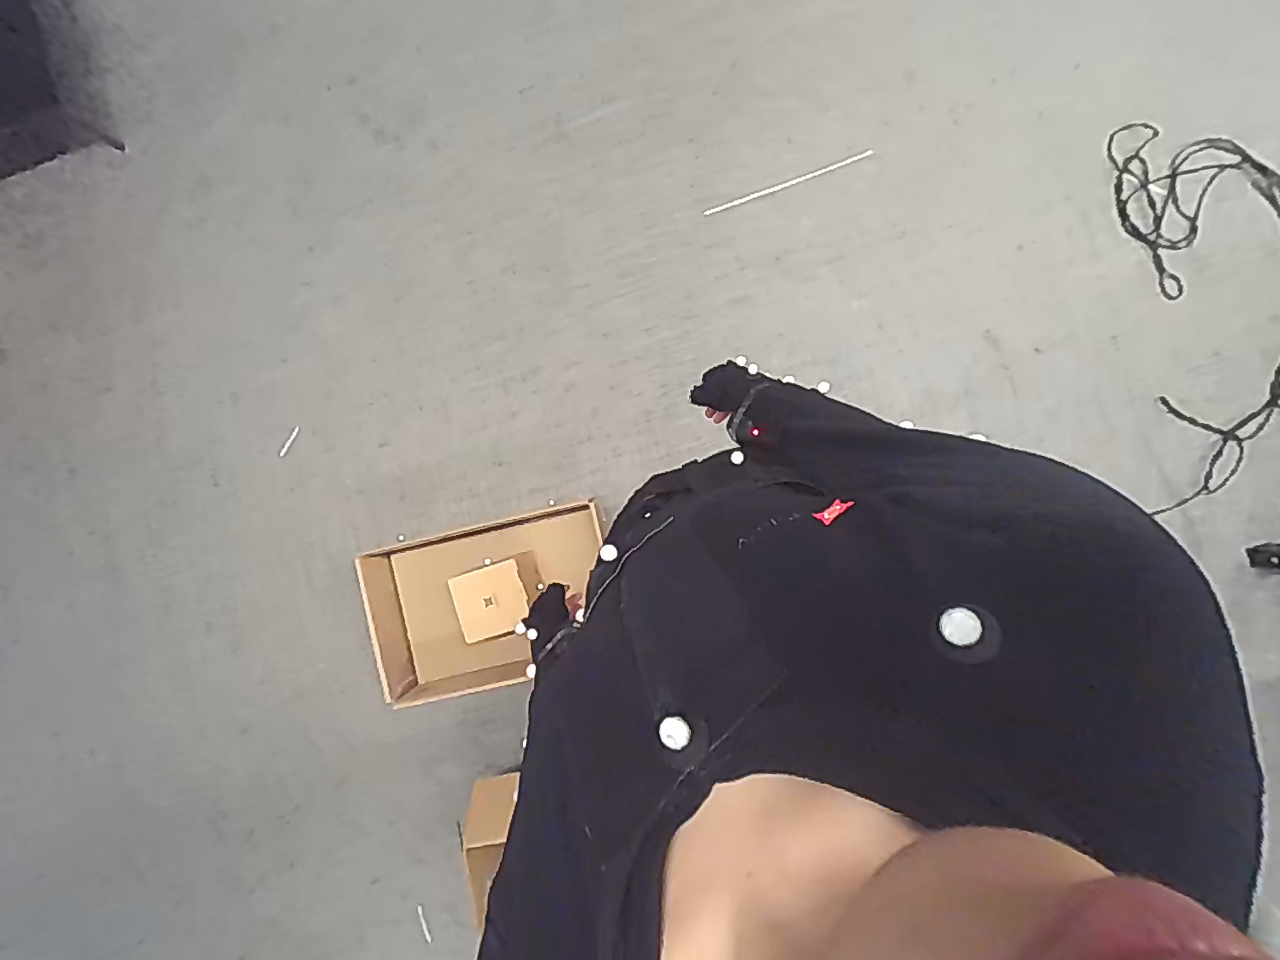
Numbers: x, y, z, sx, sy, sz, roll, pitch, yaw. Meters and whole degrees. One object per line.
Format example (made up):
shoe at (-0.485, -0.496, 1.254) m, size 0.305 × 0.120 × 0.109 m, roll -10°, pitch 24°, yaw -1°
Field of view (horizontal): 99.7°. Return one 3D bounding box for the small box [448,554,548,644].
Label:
small box at (-0.352, 0.294, 1.366) m, size 0.179 × 0.176 × 0.168 m, roll -18°, pitch 88°, yaw 3°
